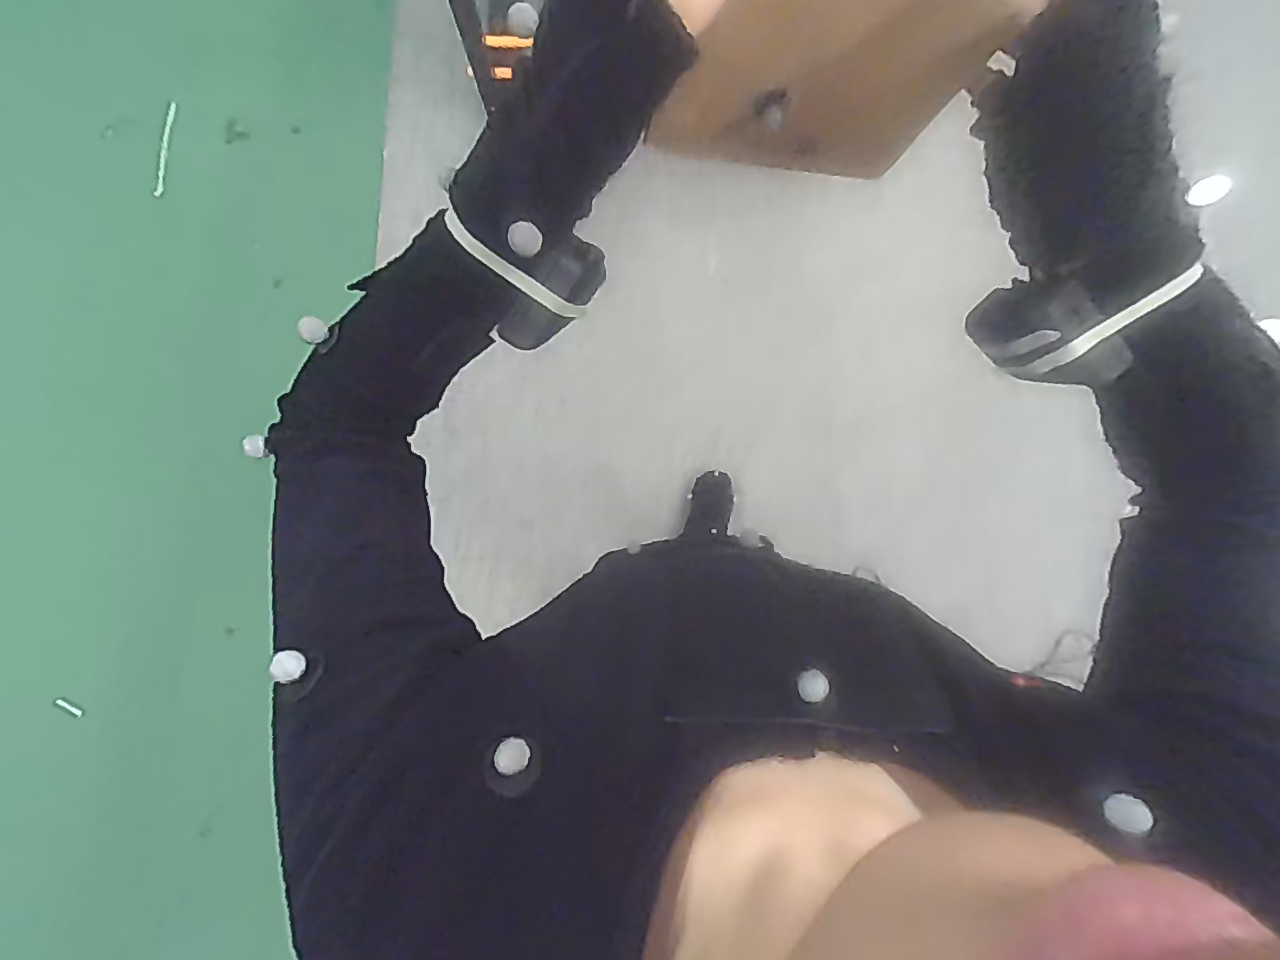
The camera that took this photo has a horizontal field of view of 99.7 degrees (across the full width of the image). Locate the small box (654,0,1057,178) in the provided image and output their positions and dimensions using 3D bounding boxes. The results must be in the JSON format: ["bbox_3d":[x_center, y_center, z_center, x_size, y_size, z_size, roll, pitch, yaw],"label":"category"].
[{"bbox_3d":[0.102,-0.300,0.285,0.168,0.176,0.179,3,88,-7],"label":"small box"}]
